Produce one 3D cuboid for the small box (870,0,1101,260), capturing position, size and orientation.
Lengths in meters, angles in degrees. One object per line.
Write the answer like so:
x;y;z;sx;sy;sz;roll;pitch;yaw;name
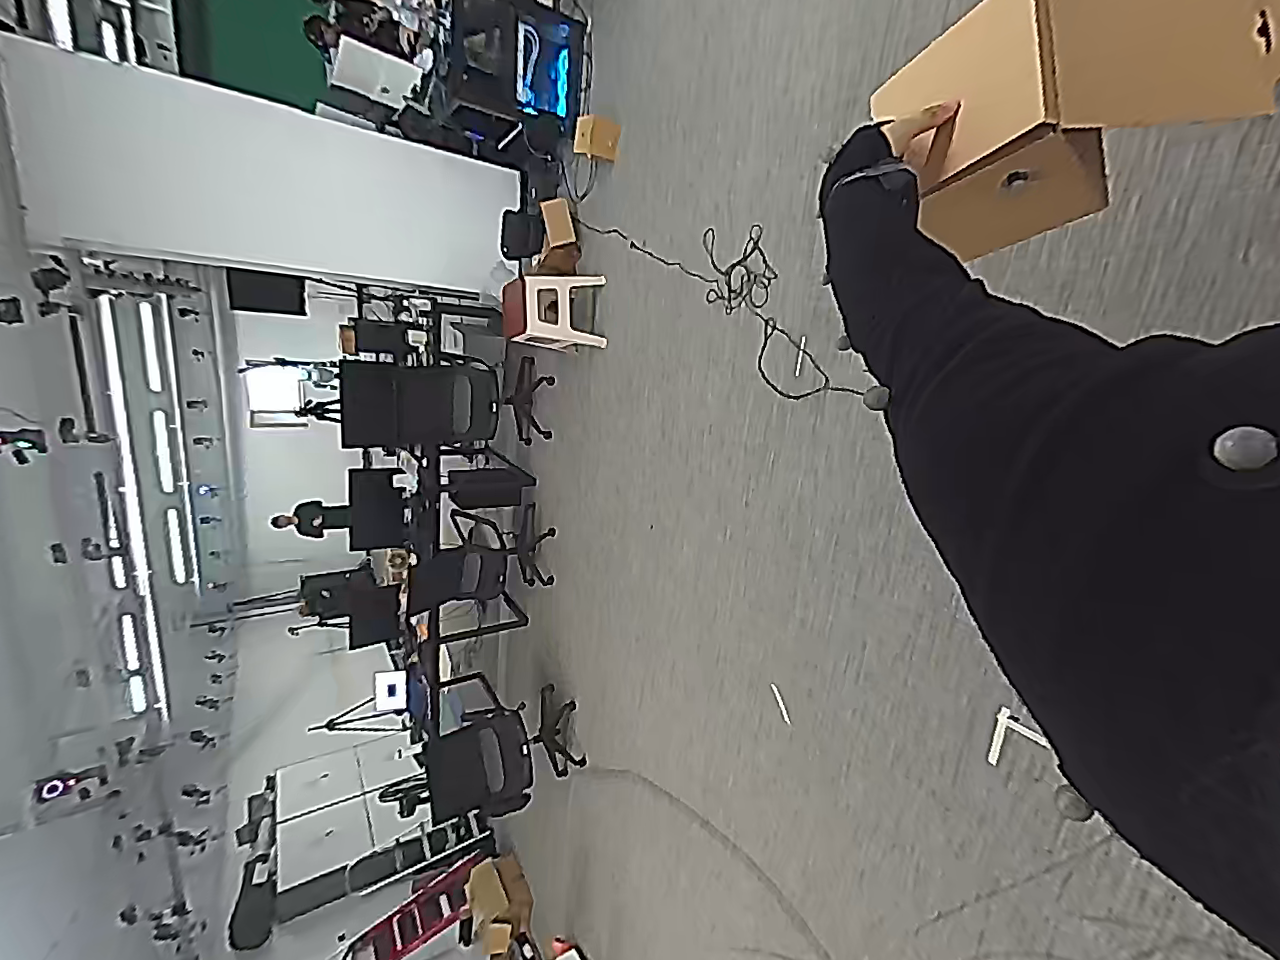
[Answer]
0.384;-0.378;0.603;0.179;0.176;0.168;-8;76;53;small box
